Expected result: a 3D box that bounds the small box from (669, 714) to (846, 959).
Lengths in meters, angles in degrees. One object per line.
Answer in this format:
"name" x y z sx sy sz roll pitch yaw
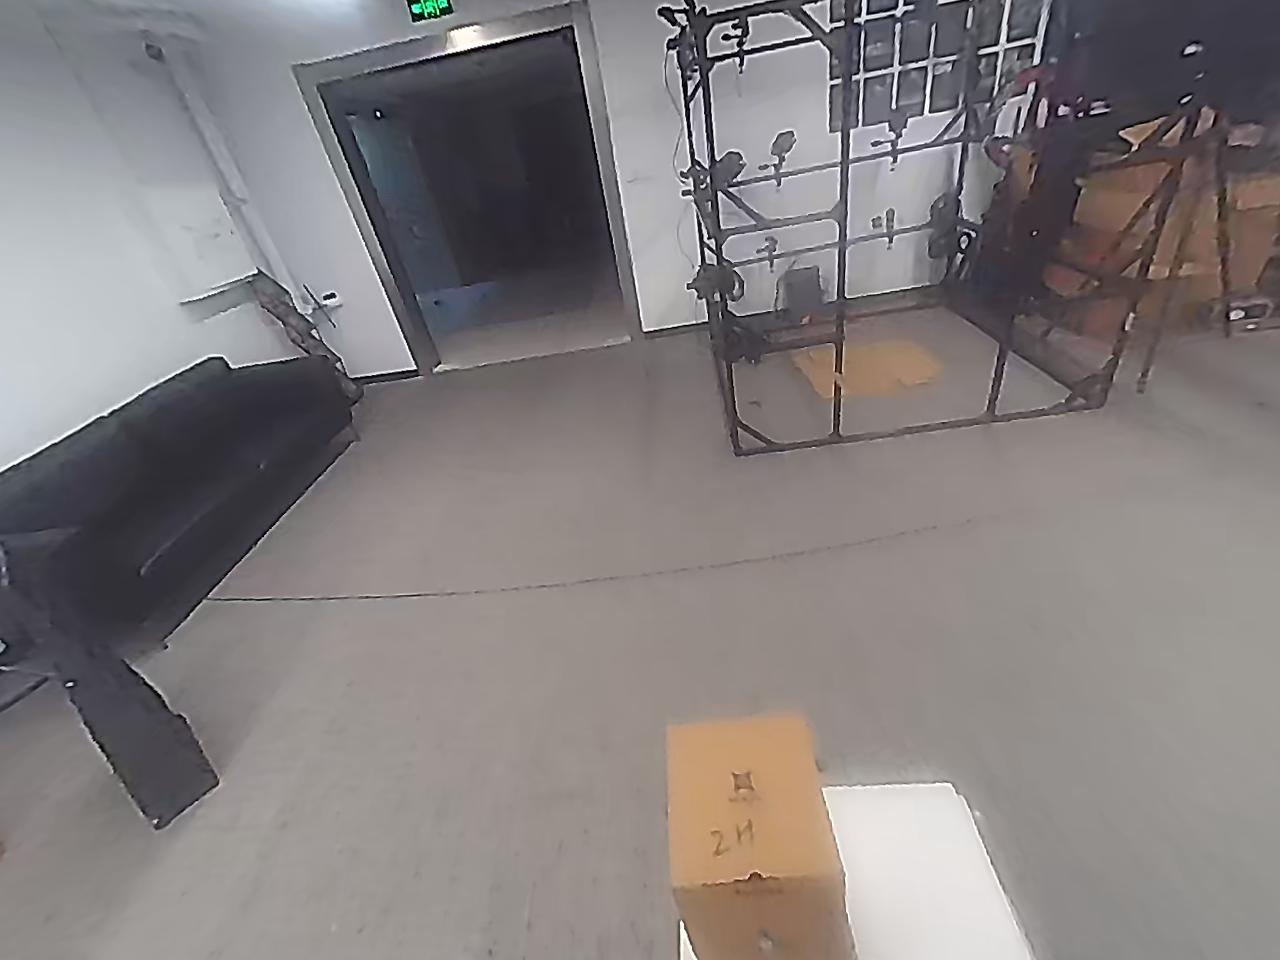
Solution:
"small box" 0.126 0.402 0.616 0.168 0.176 0.179 -10 31 7
